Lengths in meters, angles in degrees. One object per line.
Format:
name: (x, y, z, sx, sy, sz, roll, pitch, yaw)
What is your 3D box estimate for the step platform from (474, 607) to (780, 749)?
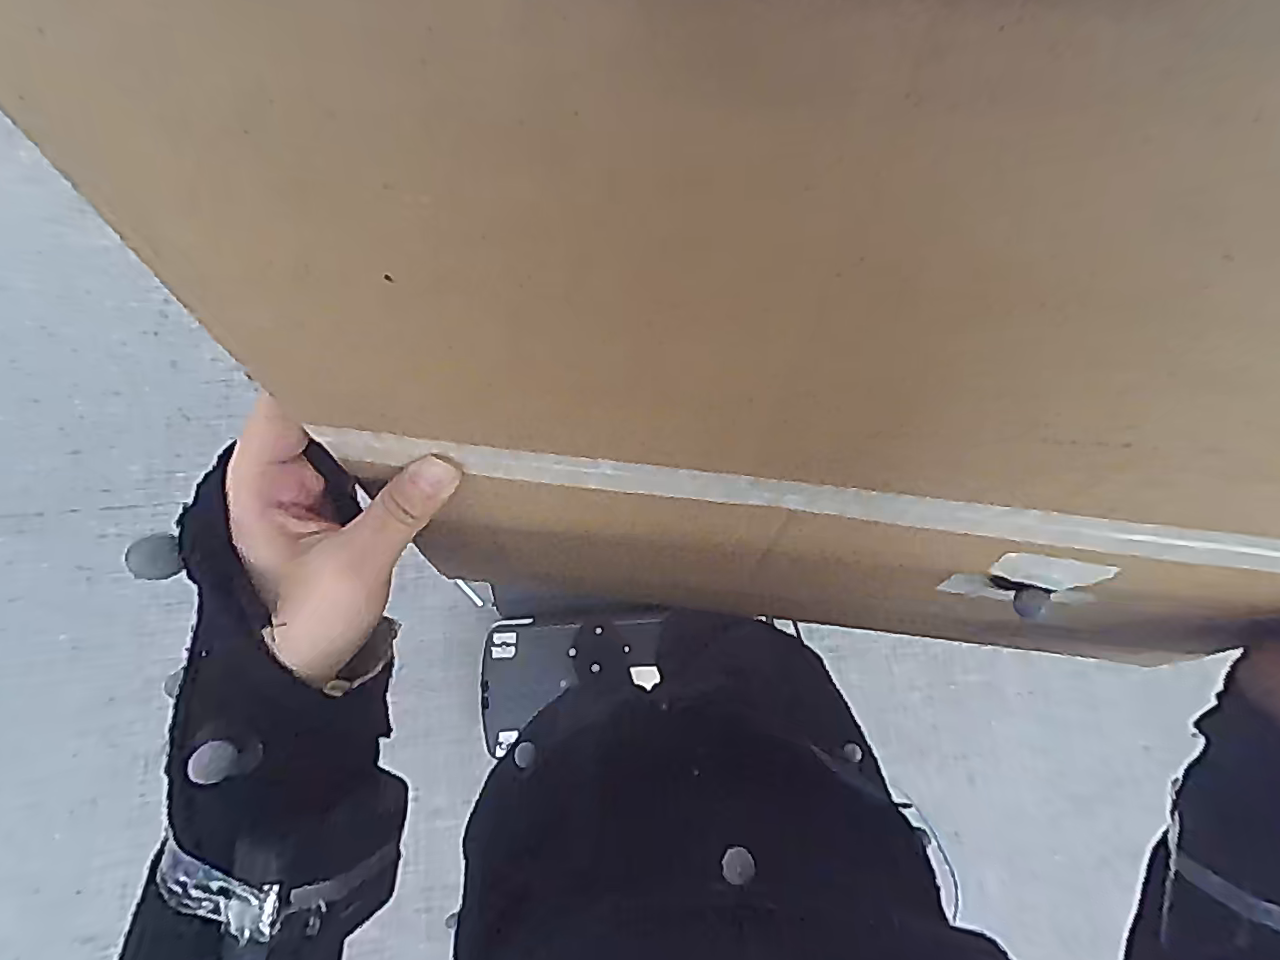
step platform: (-0.027, 0.450, 1.248, 0.684, 0.204, 0.286, 2, 80, -3)
